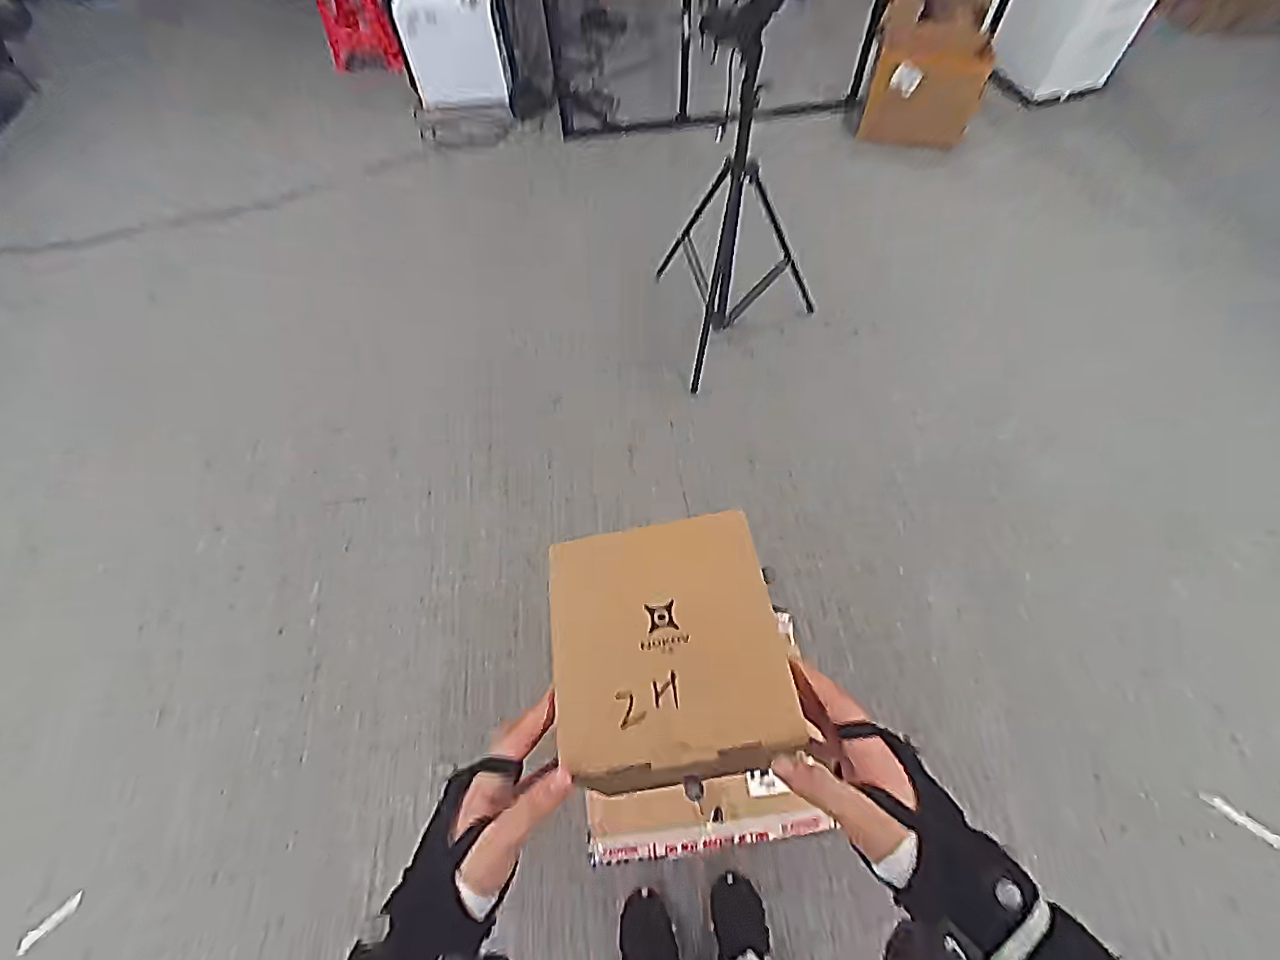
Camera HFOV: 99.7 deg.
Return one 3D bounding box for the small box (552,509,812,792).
[{"bbox_3d":[0.029,0.150,0.457,0.168,0.176,0.179,-11,58,3],"label":"small box"}]
